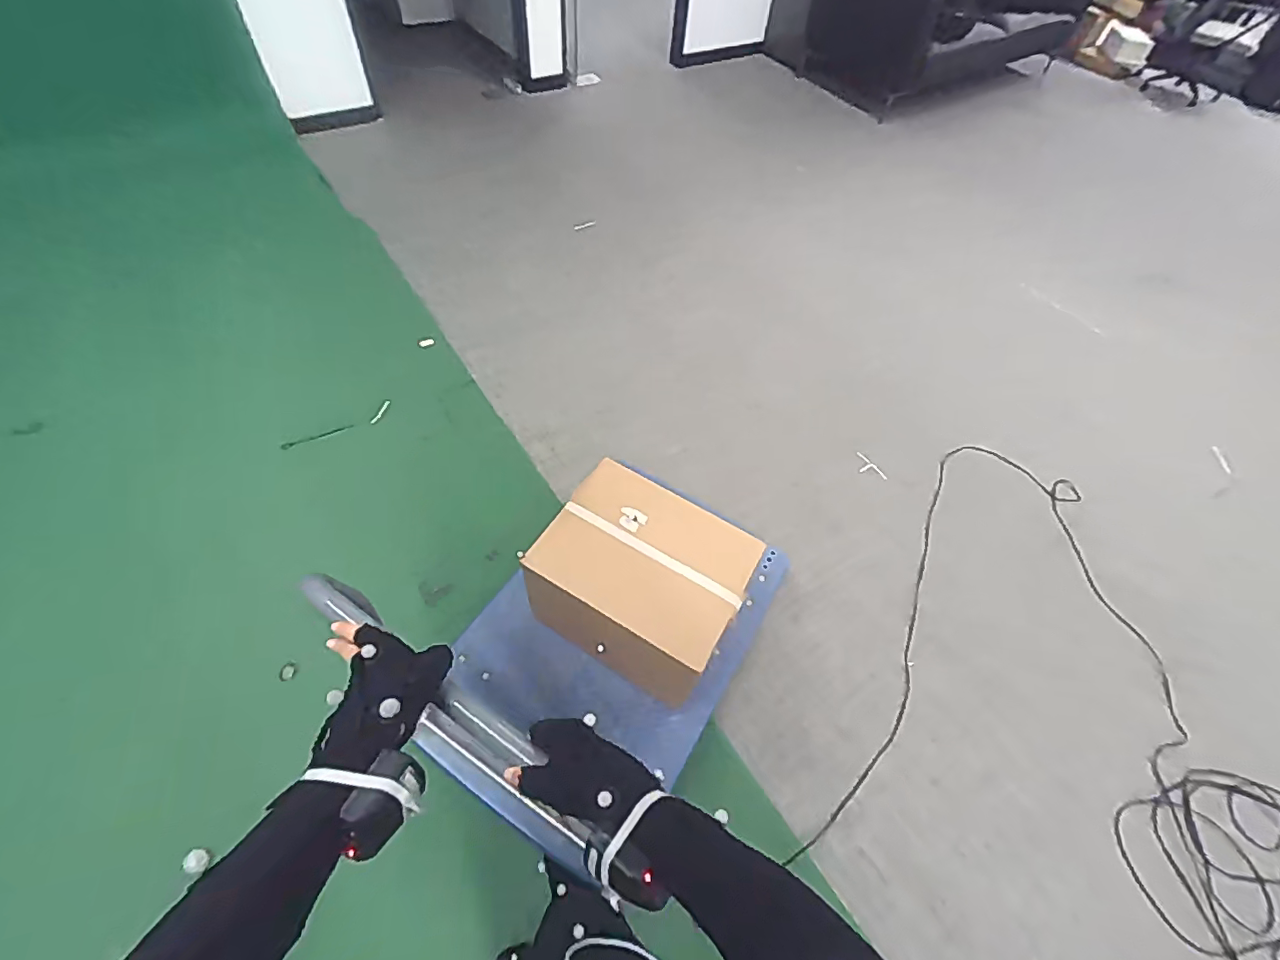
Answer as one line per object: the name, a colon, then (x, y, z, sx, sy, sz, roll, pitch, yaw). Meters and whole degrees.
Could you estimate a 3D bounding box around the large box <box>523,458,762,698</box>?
large box: (0.005, 0.225, 1.220, 0.408, 0.320, 0.320, 28, 57, 14)
